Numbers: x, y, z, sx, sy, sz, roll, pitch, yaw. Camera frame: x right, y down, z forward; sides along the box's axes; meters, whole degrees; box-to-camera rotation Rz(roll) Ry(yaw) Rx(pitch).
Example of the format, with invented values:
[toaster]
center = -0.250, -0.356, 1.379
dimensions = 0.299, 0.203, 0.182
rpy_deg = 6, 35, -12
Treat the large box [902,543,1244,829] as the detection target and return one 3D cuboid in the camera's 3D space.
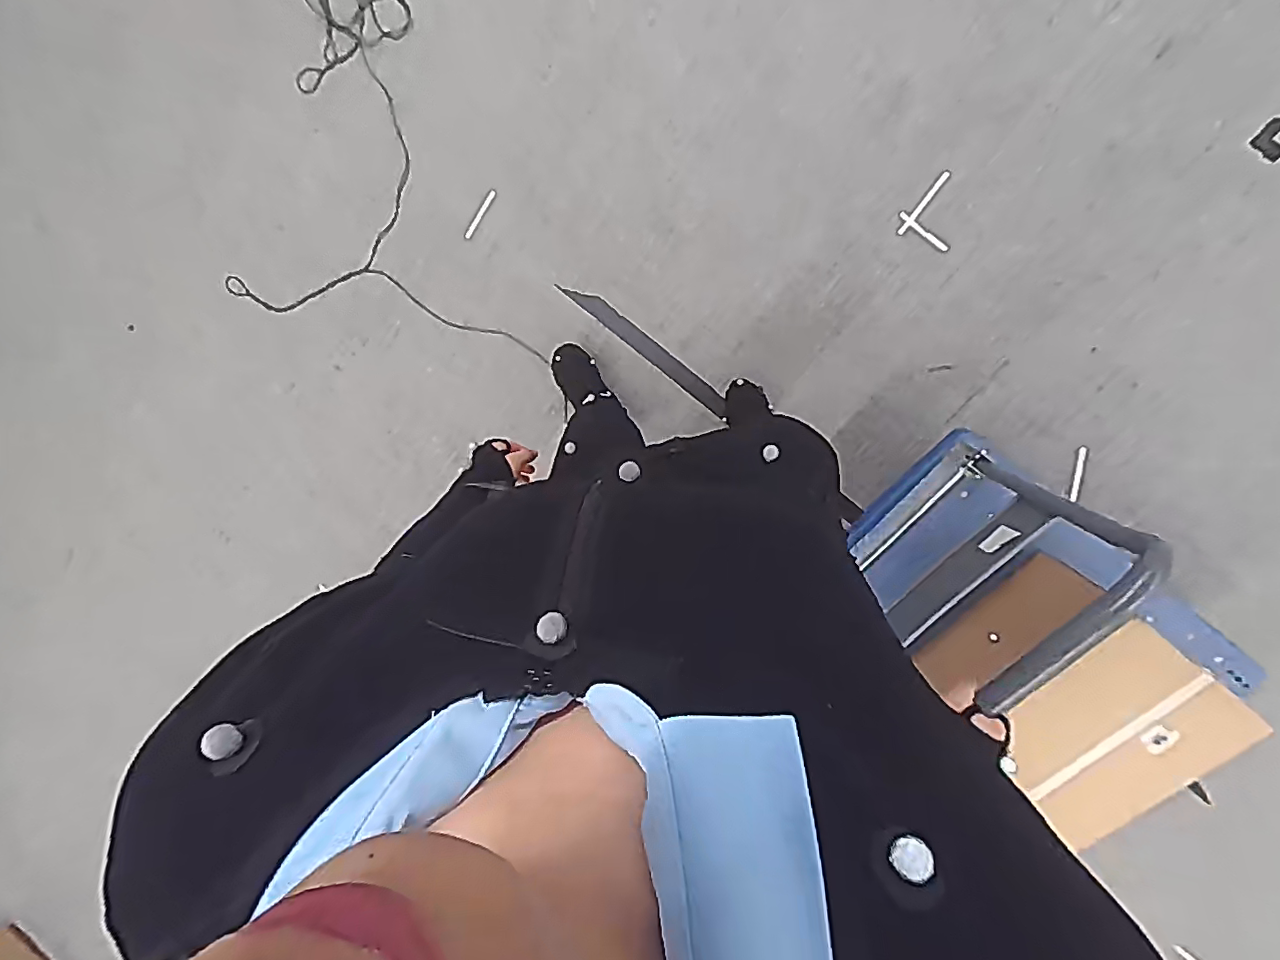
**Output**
[large box]
center = 0.854, 0.413, 1.147
dimensions = 0.320, 0.320, 0.408
rpy_deg = 39, 106, -2
